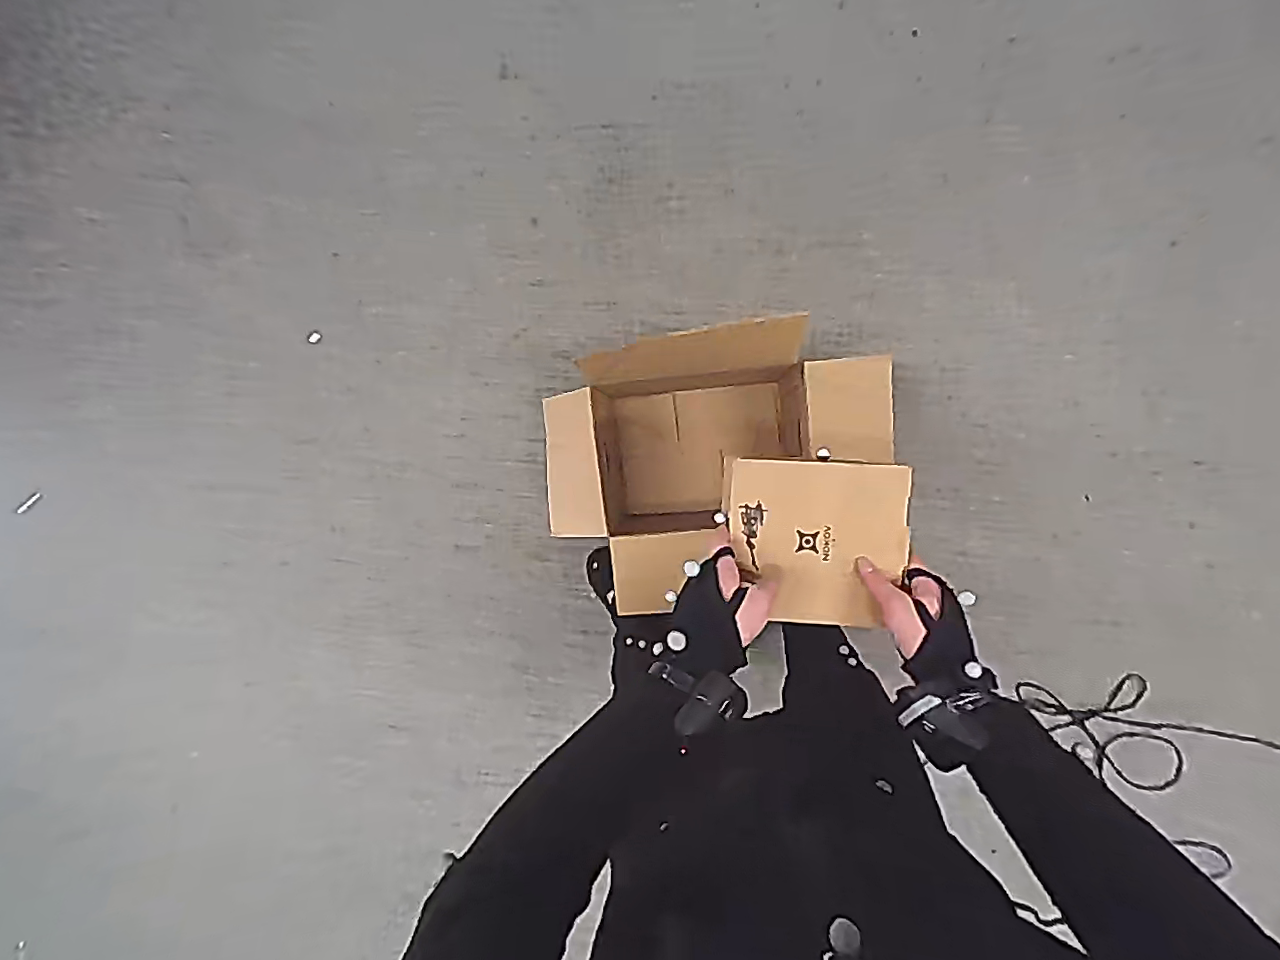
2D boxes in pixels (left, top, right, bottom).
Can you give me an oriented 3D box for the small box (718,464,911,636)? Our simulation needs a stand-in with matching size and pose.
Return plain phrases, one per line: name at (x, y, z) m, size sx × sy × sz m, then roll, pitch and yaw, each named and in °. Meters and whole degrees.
small box at (0.188, 0.069, 0.630) m, size 0.179 × 0.176 × 0.168 m, roll 3°, pitch 93°, yaw 6°
